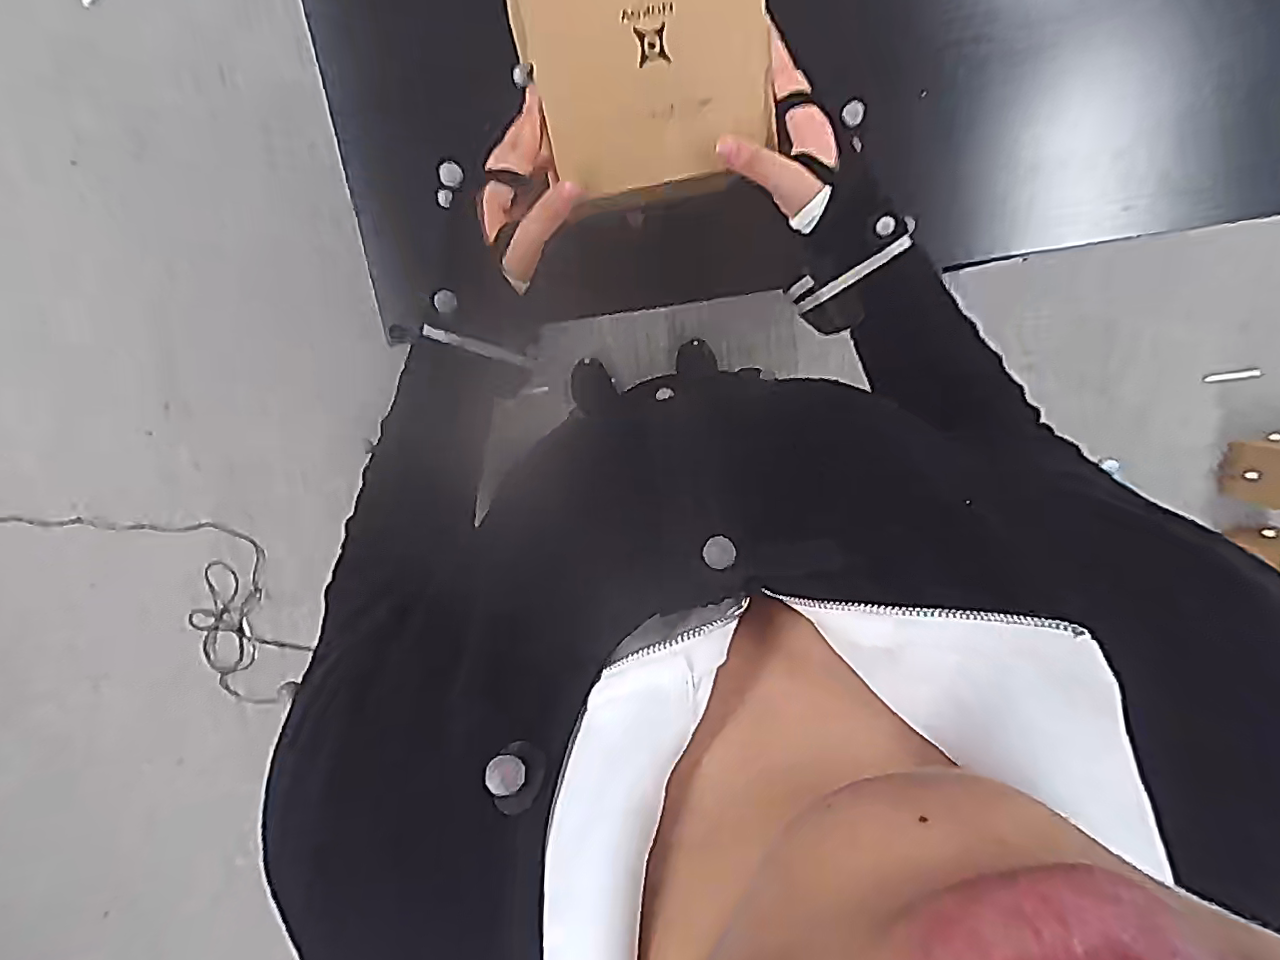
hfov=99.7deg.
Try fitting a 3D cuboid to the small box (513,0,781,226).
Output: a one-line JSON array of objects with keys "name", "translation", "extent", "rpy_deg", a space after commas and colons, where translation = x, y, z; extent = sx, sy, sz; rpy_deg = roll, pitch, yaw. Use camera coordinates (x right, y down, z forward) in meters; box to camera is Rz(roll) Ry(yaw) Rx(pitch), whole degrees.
[{"name": "small box", "translation": [-0.004, -0.321, 0.436], "extent": [0.168, 0.176, 0.179], "rpy_deg": [-14, 112, -4]}]

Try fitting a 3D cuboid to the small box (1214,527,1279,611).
[{"name": "small box", "translation": [1.819, 0.251, 1.553], "extent": [0.168, 0.176, 0.179], "rpy_deg": [-9, 104, 0]}]

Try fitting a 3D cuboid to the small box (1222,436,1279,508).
[{"name": "small box", "translation": [1.772, -0.023, 1.480], "extent": [0.179, 0.176, 0.168], "rpy_deg": [-6, 104, 0]}]
